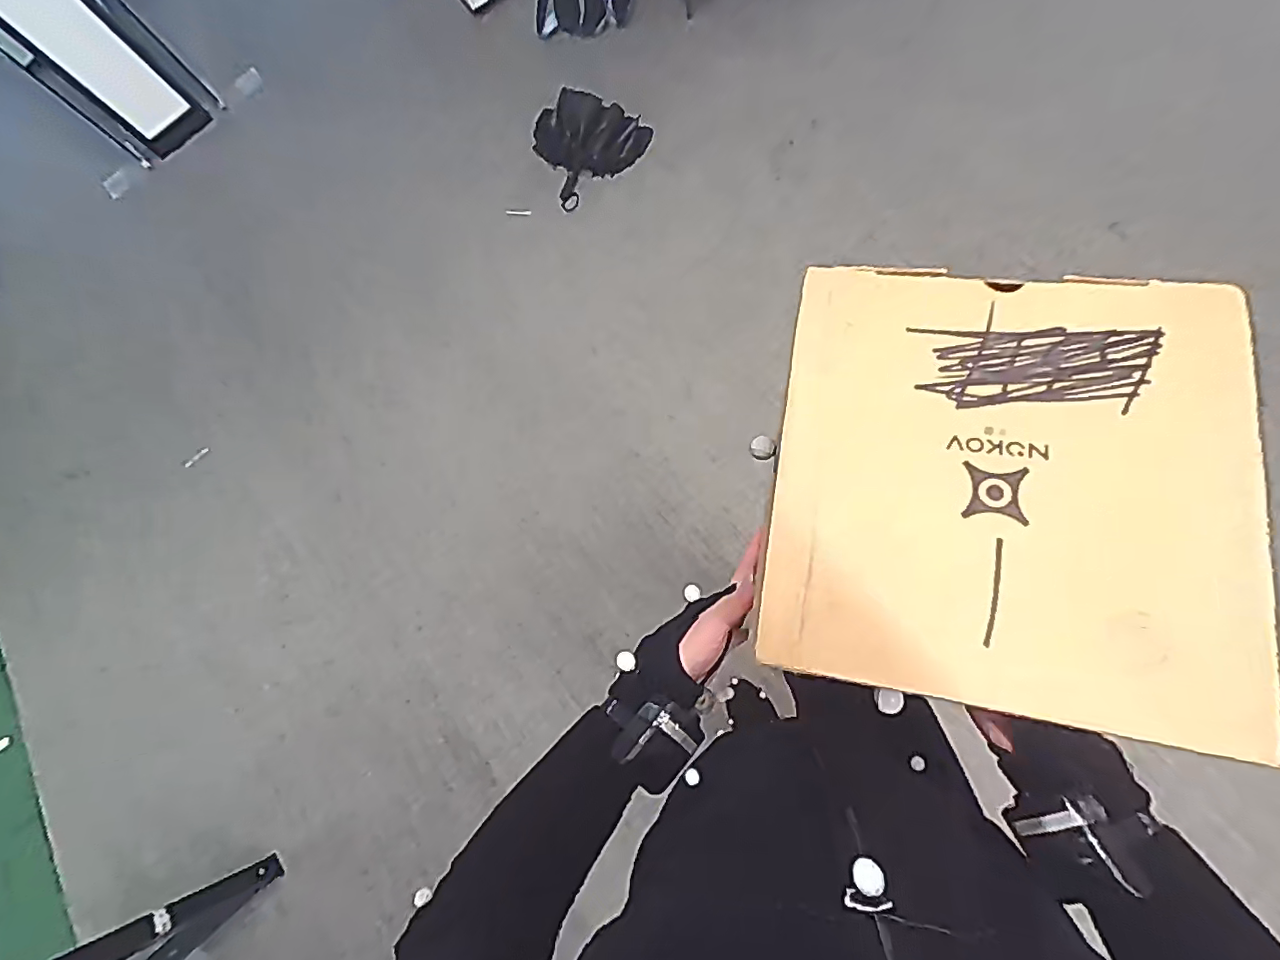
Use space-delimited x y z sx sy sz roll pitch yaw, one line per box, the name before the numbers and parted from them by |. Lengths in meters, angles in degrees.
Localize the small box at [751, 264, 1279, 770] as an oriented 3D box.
small box | 0.151 0.017 0.281 0.168 0.176 0.179 8 78 14
